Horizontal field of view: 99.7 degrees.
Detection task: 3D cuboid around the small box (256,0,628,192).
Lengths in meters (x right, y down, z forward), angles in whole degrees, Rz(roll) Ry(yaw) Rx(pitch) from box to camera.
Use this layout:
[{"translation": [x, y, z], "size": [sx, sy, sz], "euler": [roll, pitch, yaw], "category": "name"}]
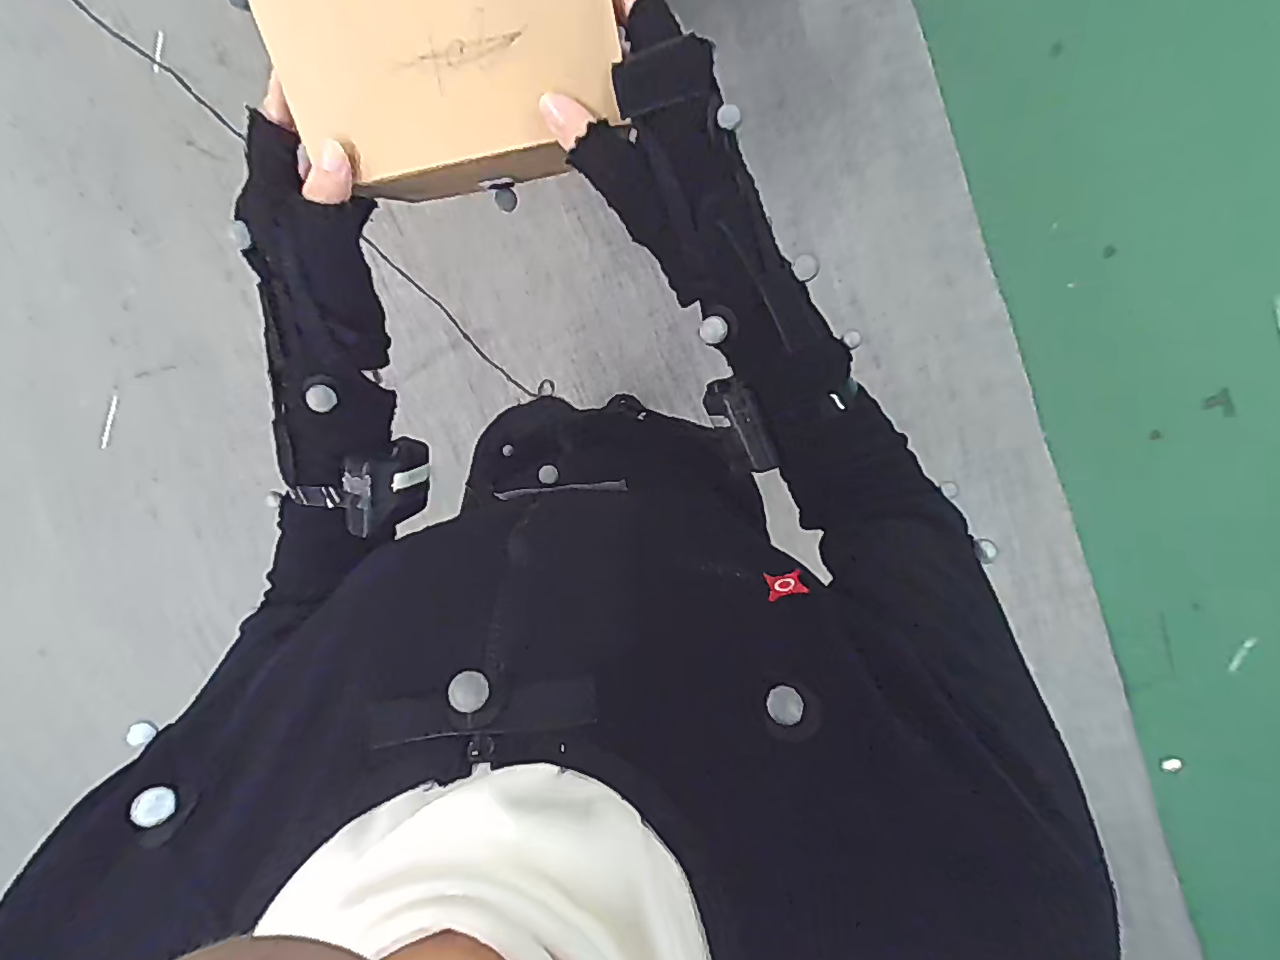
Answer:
[{"translation": [-0.104, -0.283, 0.316], "size": [0.168, 0.176, 0.179], "euler": [-10, 115, 3], "category": "small box"}]
